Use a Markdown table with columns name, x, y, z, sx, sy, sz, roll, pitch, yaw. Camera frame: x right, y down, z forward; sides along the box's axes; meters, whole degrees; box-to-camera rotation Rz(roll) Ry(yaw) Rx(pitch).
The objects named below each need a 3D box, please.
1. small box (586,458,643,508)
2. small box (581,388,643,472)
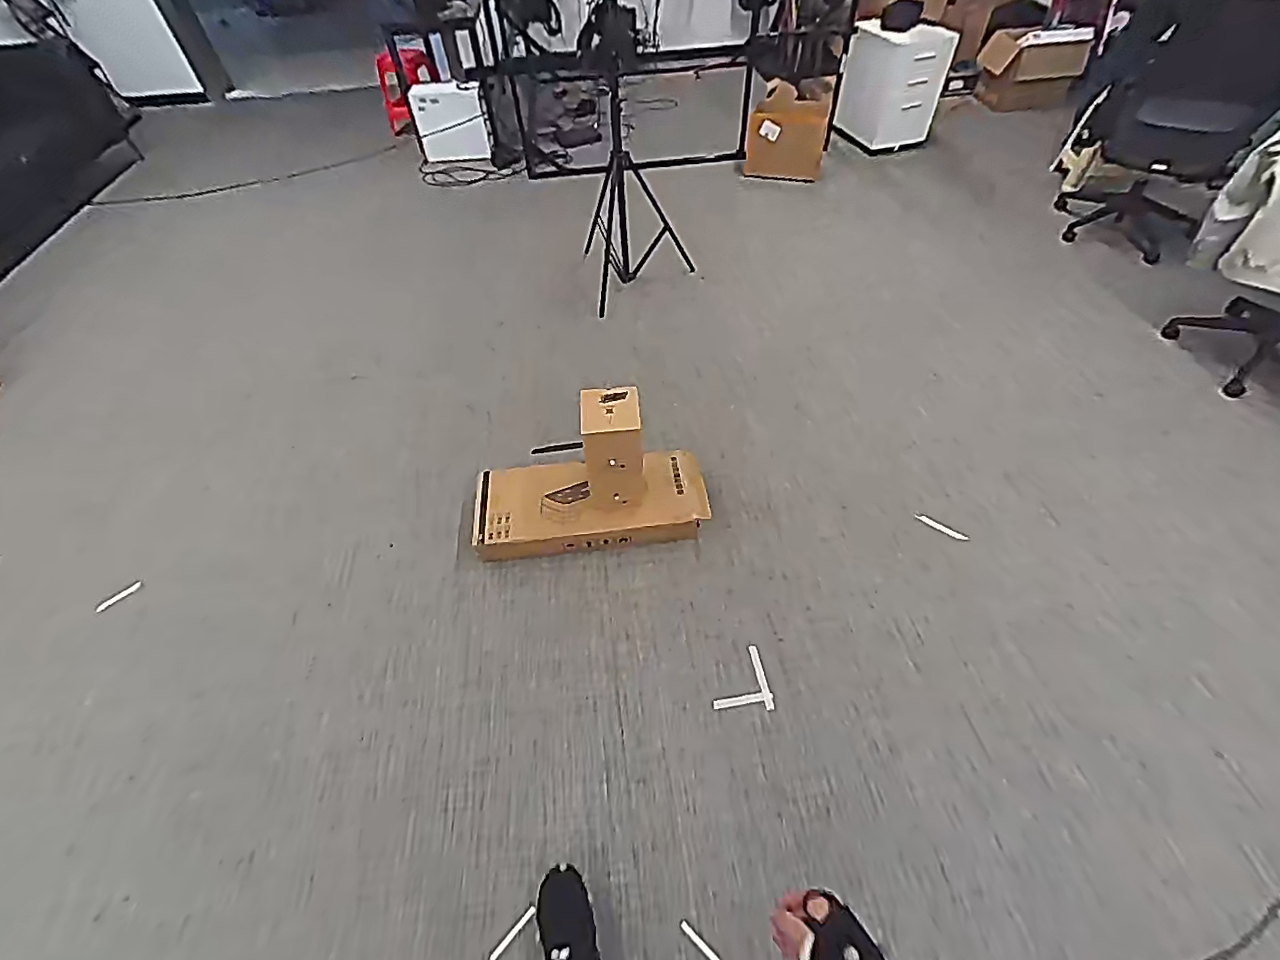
| name | x | y | z | sx | sy | sz | roll | pitch | yaw |
| --- | --- | --- | --- | --- | --- | --- | --- | --- | --- |
| small box | -0.082 | -0.037 | 1.701 | 0.168 | 0.176 | 0.179 | -8 | 50 | -3 |
| small box | -0.080 | -0.144 | 1.576 | 0.168 | 0.176 | 0.179 | -5 | 51 | -1 |
